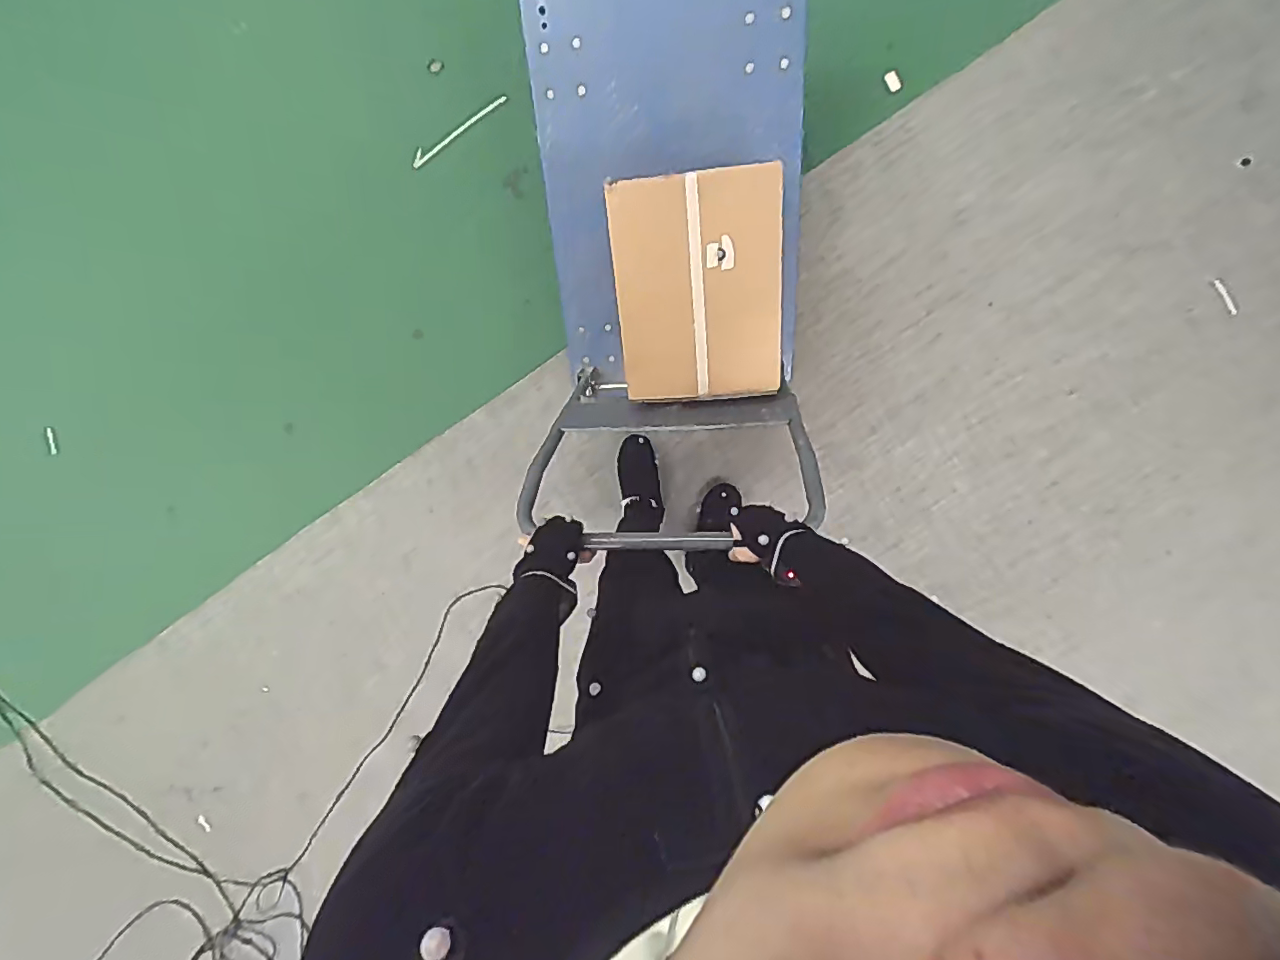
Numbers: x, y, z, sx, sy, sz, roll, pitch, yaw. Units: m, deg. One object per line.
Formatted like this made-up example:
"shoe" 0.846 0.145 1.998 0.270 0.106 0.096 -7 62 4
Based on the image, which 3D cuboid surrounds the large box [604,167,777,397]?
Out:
"large box" 0.126 -0.425 1.182 0.320 0.320 0.408 -2 115 9
